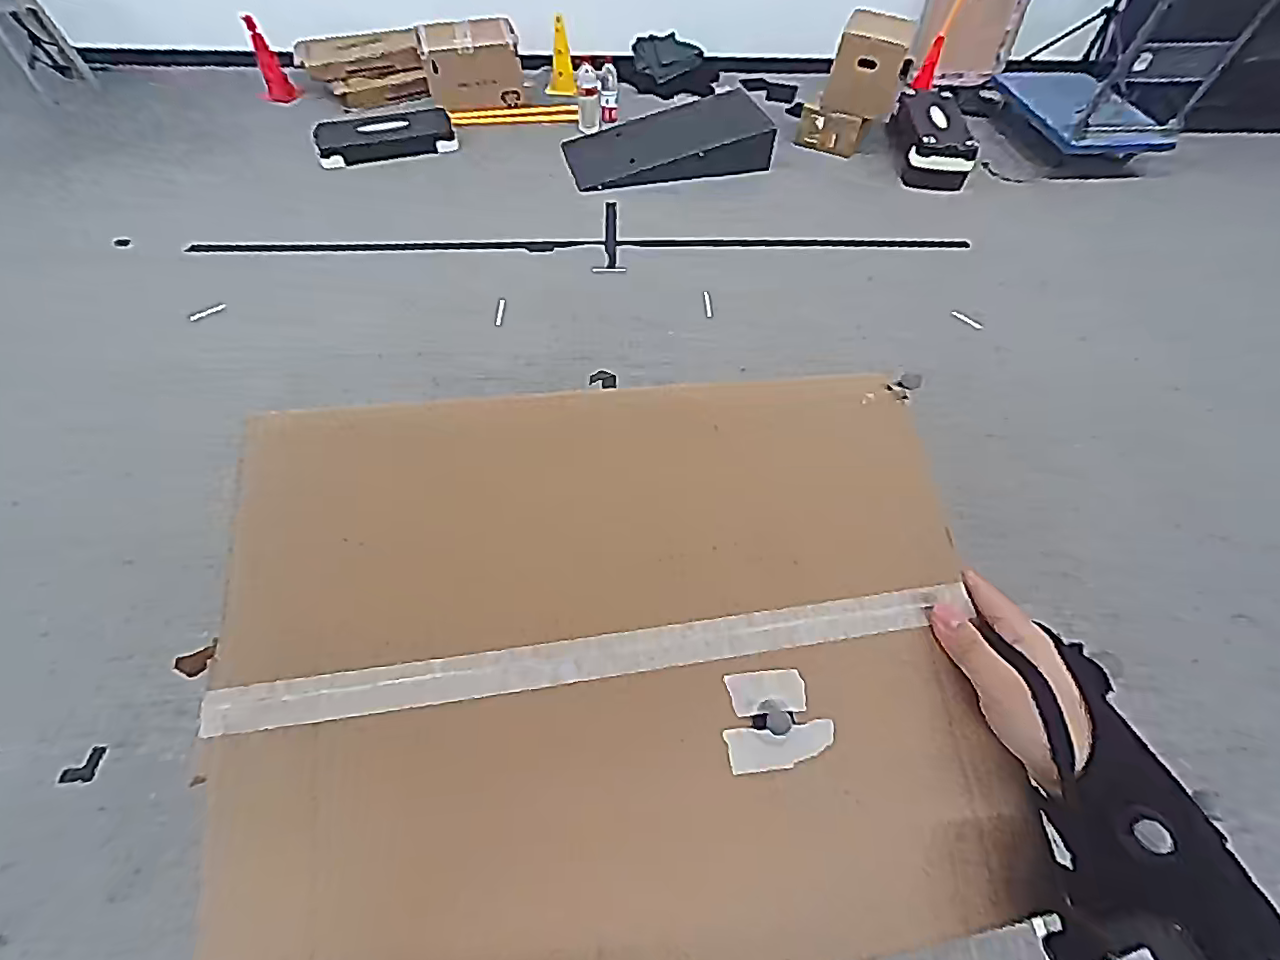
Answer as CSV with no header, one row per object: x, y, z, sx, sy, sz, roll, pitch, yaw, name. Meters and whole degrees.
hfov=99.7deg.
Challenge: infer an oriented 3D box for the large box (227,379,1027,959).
-0.025,0.140,0.443,0.408,0.320,0.320,-5,73,-10,large box
